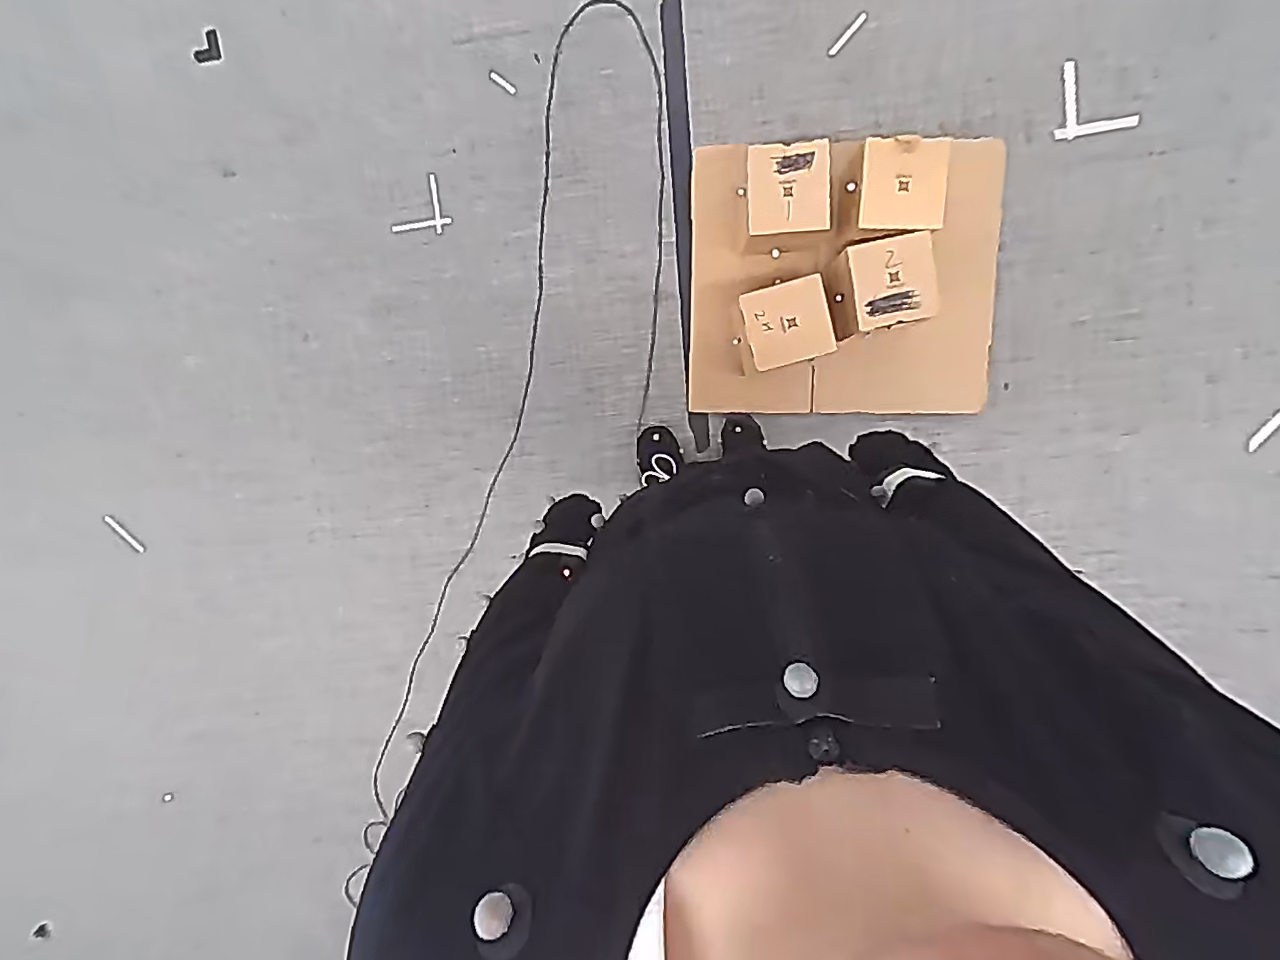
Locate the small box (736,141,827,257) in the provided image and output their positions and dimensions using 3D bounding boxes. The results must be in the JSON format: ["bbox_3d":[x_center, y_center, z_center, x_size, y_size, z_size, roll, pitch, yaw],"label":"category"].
[{"bbox_3d":[0.303,-0.605,1.182,0.168,0.176,0.179,-2,98,4],"label":"small box"}]

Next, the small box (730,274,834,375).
[{"bbox_3d":[0.310,-0.340,1.214,0.179,0.176,0.168,-14,95,5],"label":"small box"}]
